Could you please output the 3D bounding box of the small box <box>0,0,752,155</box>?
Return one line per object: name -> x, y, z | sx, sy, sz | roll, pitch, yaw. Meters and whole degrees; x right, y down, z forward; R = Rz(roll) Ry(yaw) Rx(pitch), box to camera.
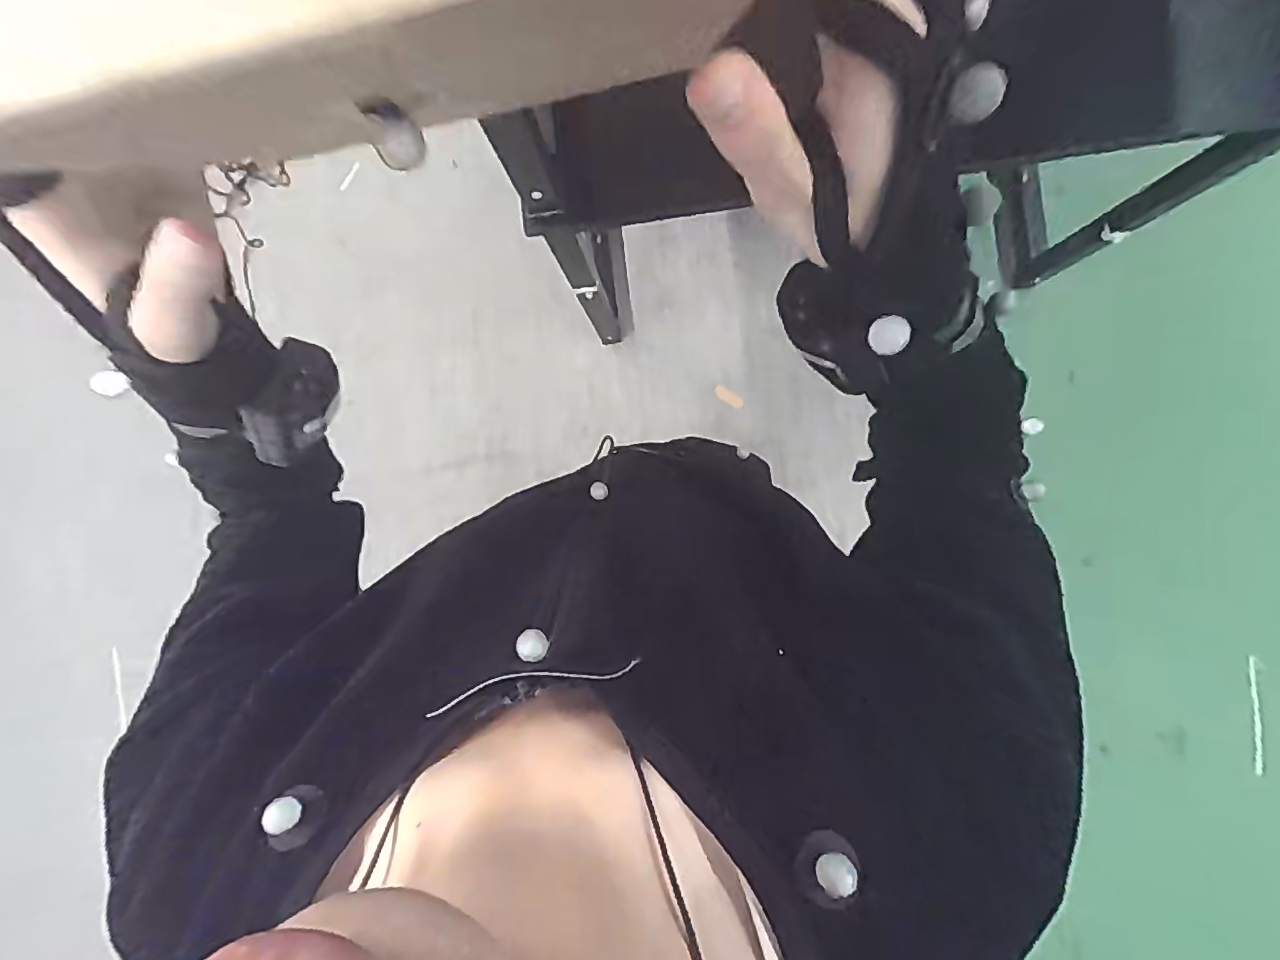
small box -> -0.067, -0.177, 0.107 | 0.179, 0.176, 0.168 | -9, 122, 5
